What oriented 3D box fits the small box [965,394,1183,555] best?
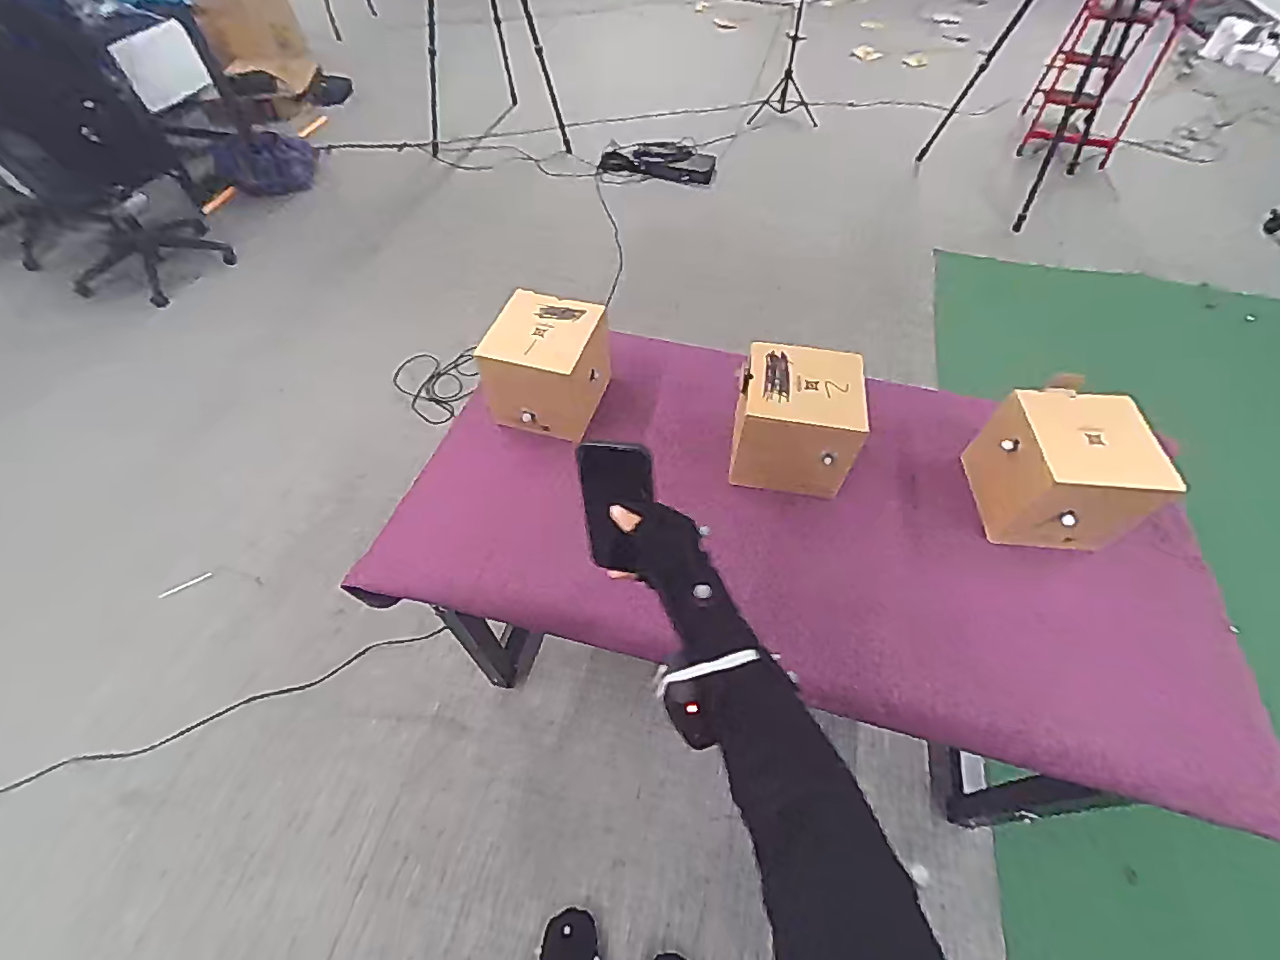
[{"bbox_3d":[0.624,-0.004,0.809,0.168,0.176,0.179,4,53,4],"label":"small box"}]

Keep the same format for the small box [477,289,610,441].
[{"bbox_3d":[-0.156,-0.198,0.941,0.168,0.176,0.179,14,57,10],"label":"small box"}]
